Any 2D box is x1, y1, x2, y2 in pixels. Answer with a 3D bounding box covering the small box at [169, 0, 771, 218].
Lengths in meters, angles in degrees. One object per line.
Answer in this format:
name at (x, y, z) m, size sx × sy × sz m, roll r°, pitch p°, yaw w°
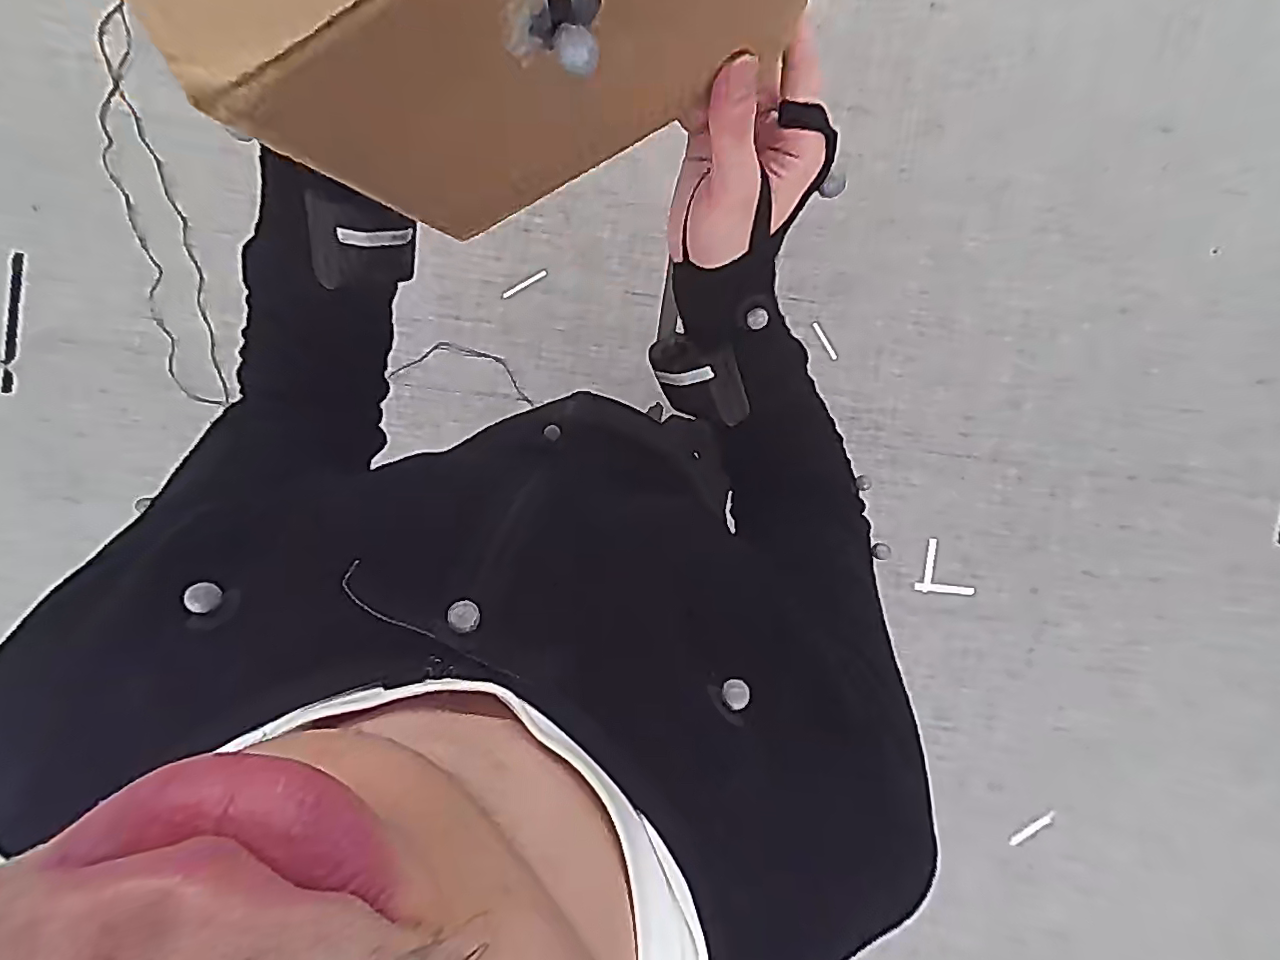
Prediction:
small box at (-0.053, -0.216, 0.178) m, size 0.179 × 0.176 × 0.168 m, roll -26°, pitch 103°, yaw 9°
